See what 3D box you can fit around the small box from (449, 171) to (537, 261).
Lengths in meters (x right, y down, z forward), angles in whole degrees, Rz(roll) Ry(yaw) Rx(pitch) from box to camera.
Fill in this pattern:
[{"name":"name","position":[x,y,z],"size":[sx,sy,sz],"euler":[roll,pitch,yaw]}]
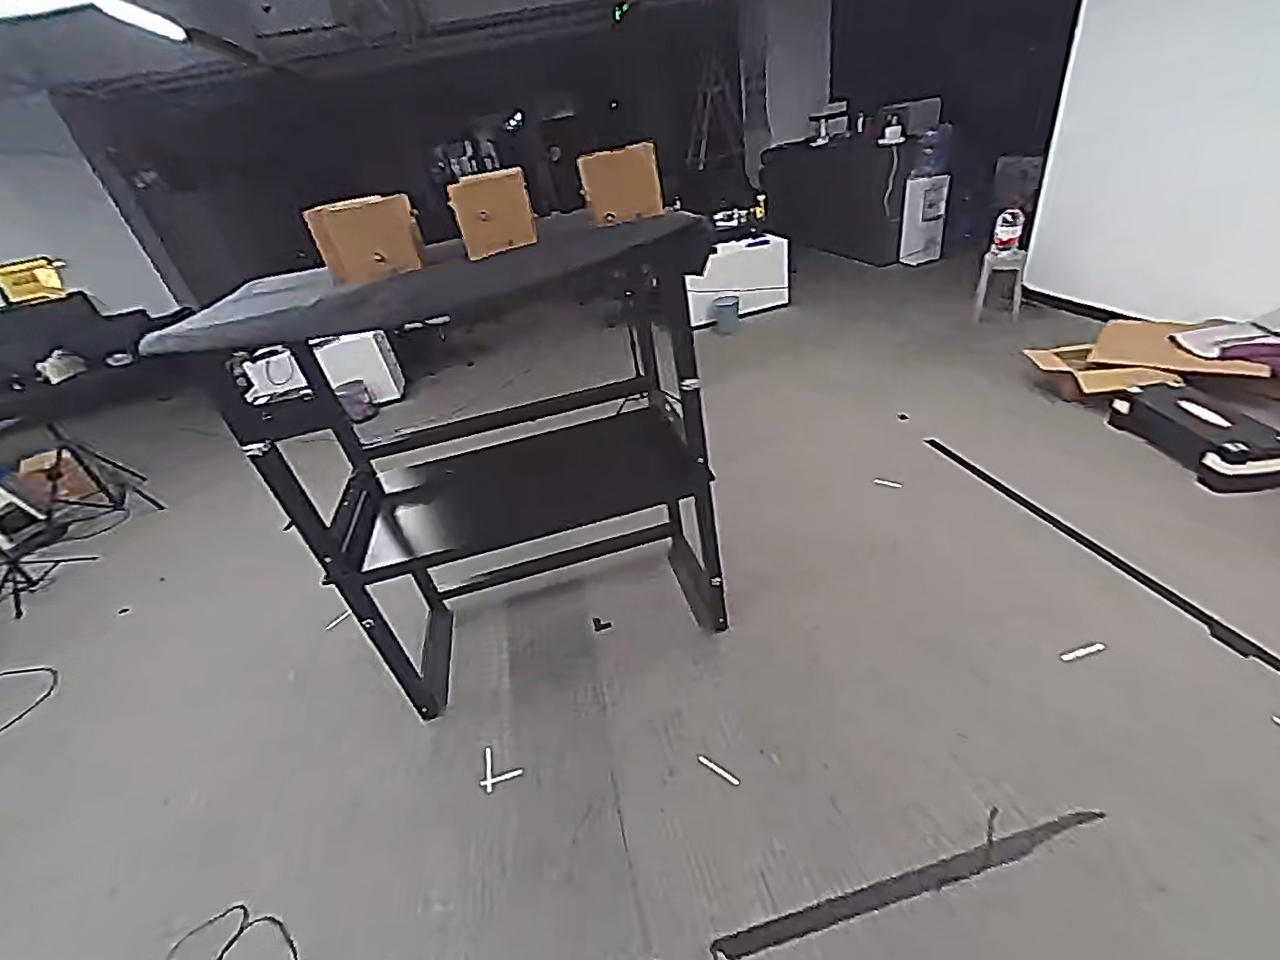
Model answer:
[{"name":"small box","position":[-0.358,-0.653,1.341],"size":[0.168,0.176,0.179],"euler":[-15,31,-6]}]

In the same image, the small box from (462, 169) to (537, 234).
[{"name":"small box","position":[-0.401,-0.784,1.555],"size":[0.168,0.176,0.179],"euler":[-16,32,-7]}]

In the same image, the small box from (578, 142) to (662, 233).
[{"name":"small box","position":[-0.050,-0.725,1.349],"size":[0.168,0.176,0.179],"euler":[-14,29,-4]}]
